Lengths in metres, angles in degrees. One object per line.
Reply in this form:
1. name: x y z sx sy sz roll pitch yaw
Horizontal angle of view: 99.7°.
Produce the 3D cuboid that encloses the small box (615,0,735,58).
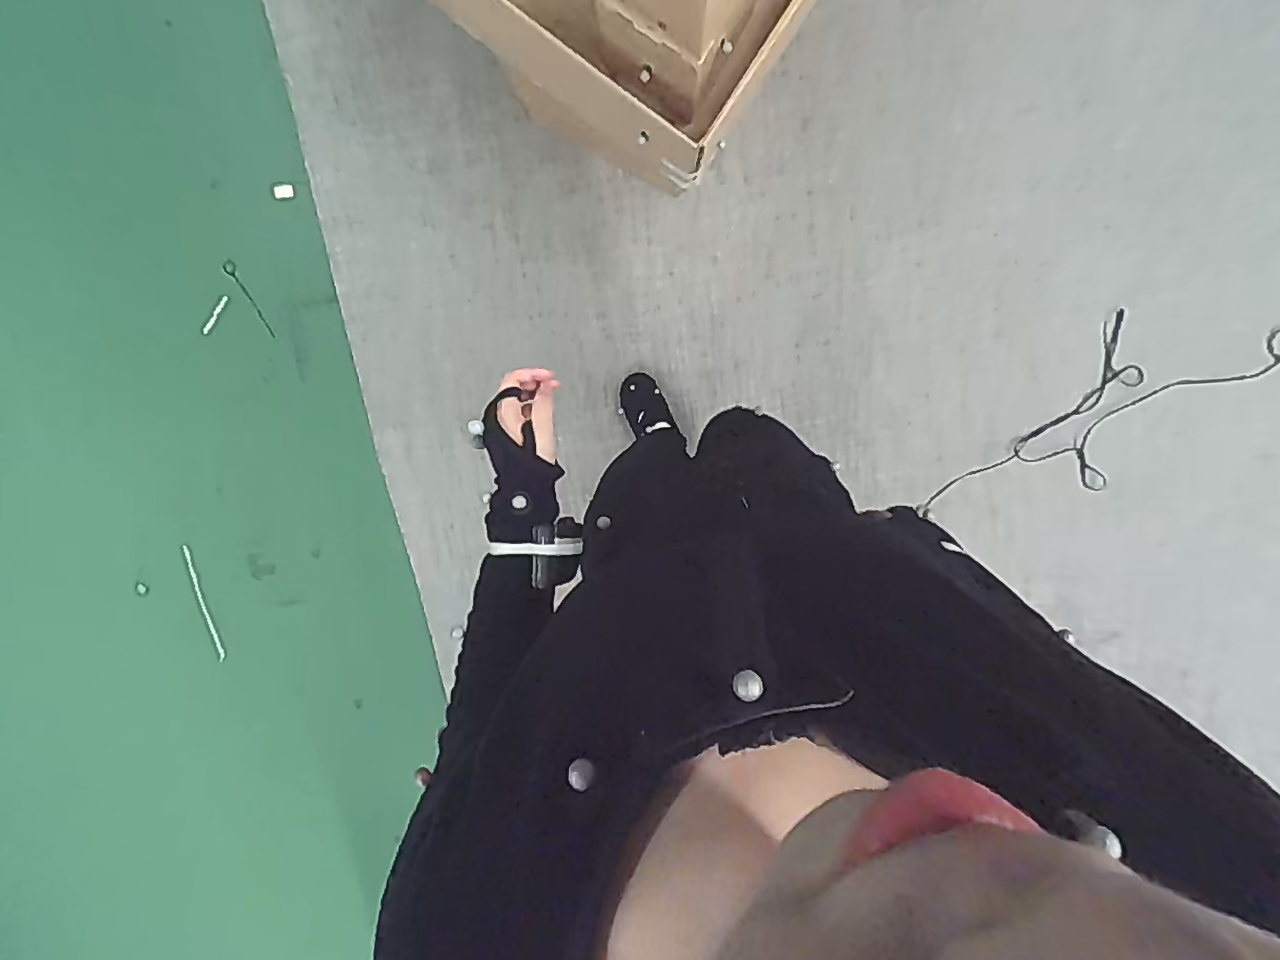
1. small box: 0.053 -0.649 0.620 0.168 0.176 0.179 33 99 -5
